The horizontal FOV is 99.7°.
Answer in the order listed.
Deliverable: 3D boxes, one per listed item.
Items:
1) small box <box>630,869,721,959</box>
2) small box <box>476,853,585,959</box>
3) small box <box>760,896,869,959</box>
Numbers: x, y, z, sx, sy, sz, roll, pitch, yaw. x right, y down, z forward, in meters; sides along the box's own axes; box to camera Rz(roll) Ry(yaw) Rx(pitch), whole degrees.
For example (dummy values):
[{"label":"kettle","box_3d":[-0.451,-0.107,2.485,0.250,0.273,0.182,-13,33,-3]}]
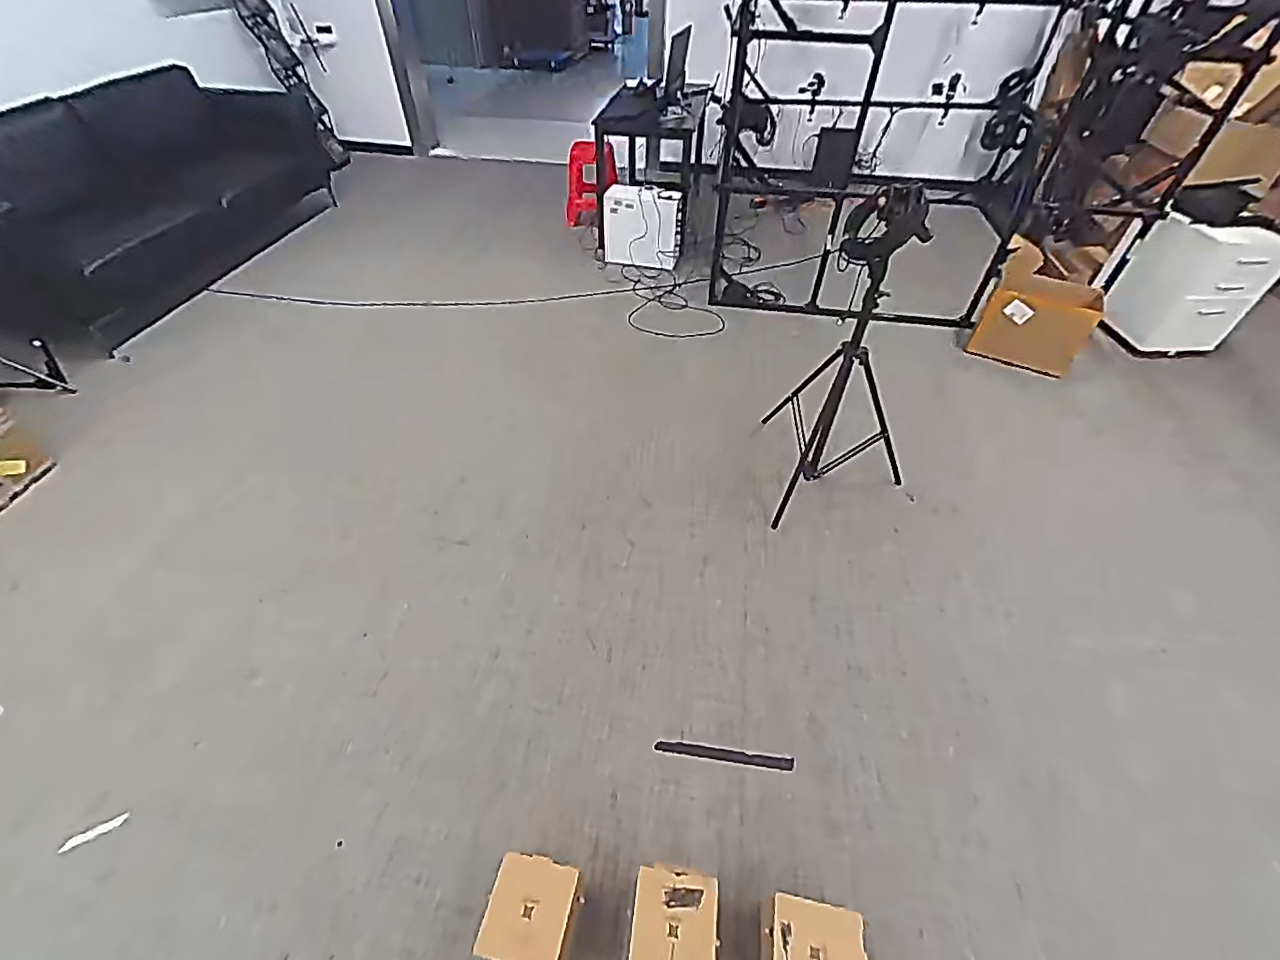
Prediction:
[{"label":"small box","box_3d":[0.071,0.929,1.107,0.168,0.176,0.179,6,46,5]},{"label":"small box","box_3d":[-0.216,0.912,1.125,0.168,0.176,0.179,8,47,9]},{"label":"small box","box_3d":[0.344,0.963,1.080,0.179,0.176,0.168,9,46,7]}]
